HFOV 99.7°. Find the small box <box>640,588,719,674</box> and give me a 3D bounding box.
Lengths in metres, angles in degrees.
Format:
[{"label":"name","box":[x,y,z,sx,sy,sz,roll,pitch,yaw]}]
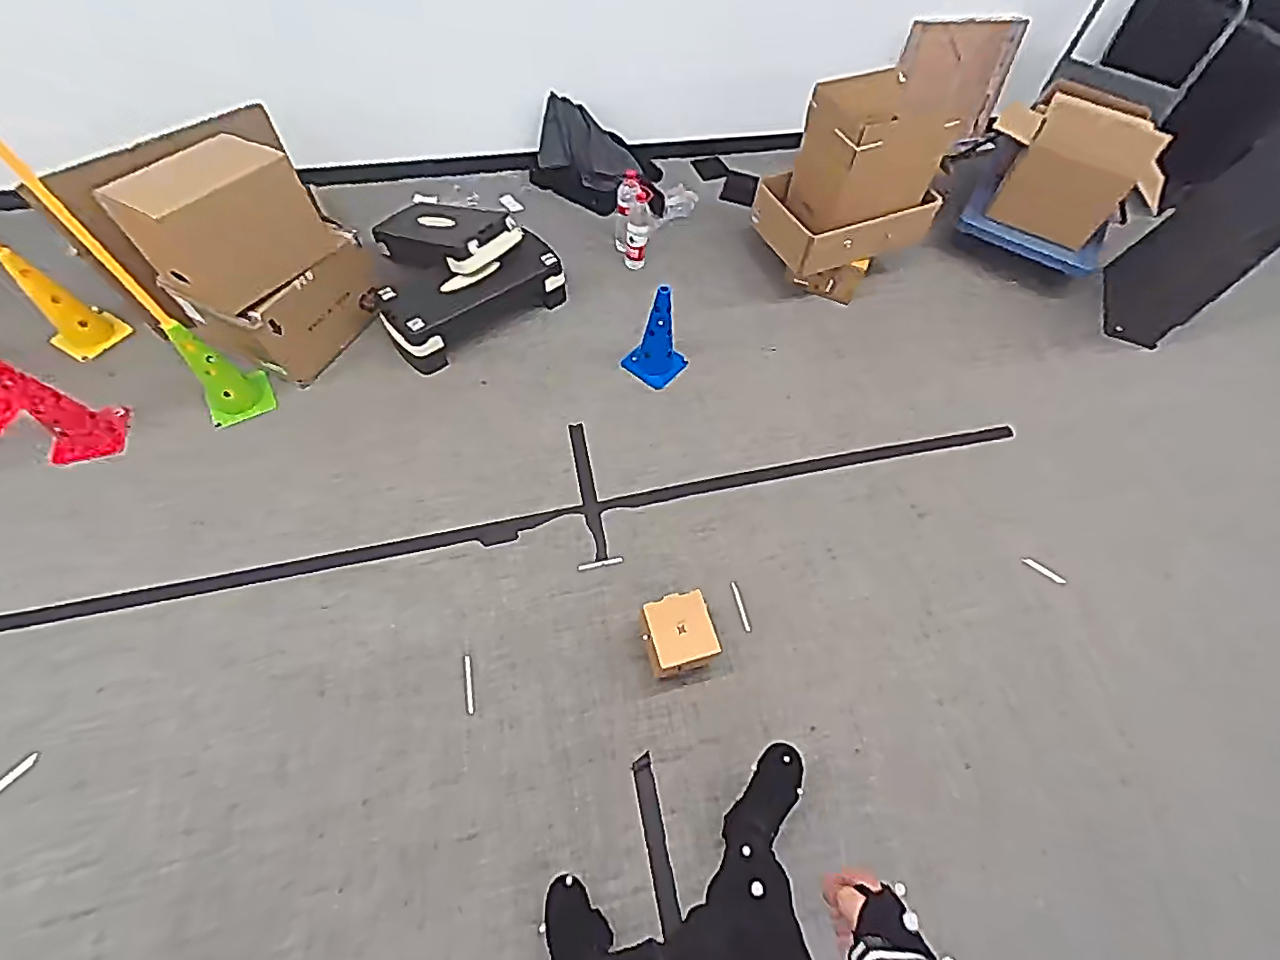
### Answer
[{"label":"small box","box":[0.101,0.421,1.484,0.168,0.176,0.179,-13,62,-11]}]
